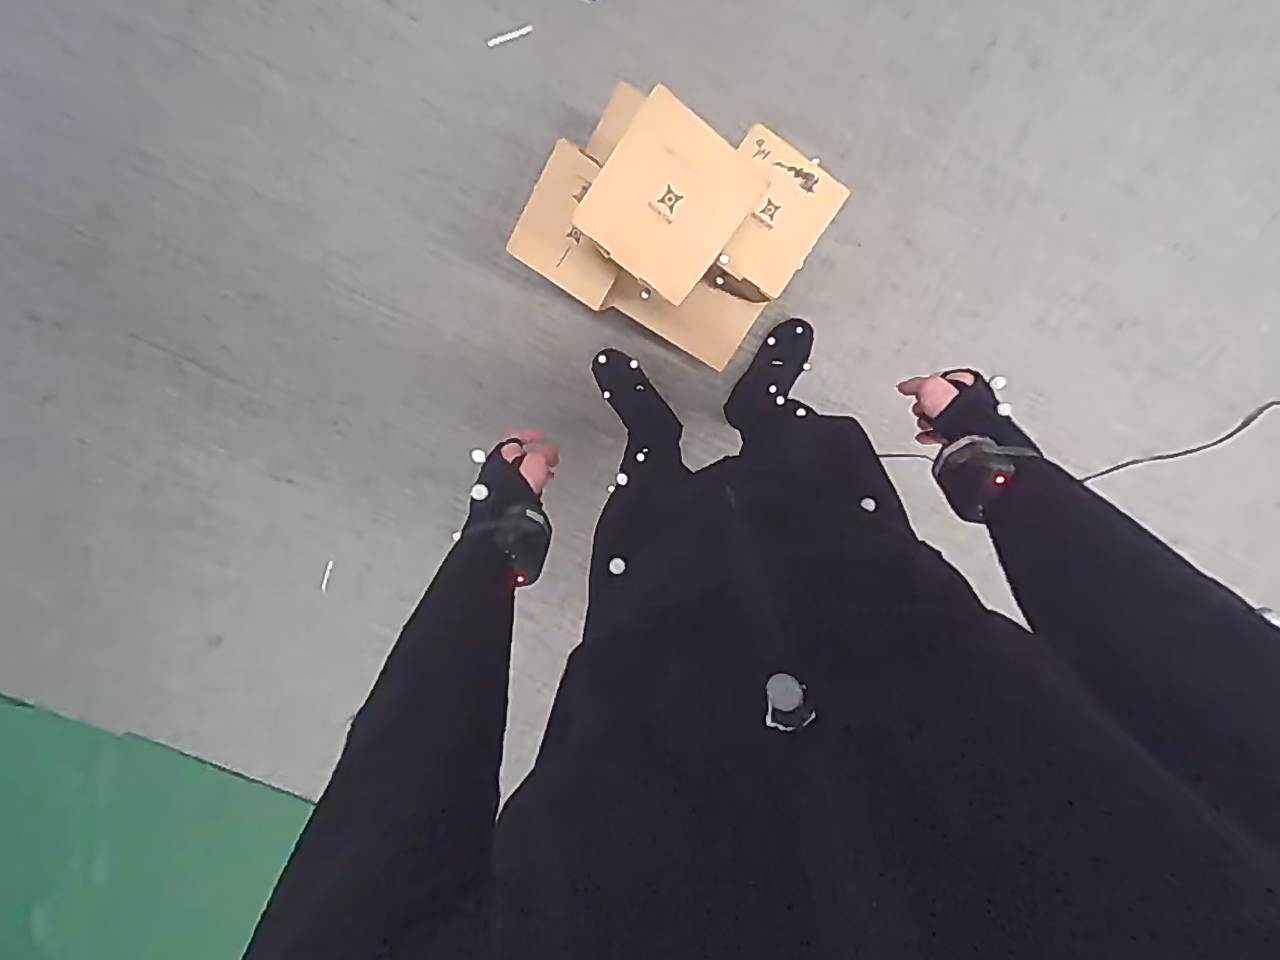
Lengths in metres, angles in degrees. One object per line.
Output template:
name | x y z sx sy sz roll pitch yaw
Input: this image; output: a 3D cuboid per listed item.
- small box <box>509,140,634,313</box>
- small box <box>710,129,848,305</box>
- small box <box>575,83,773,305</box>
small box | -0.077 -0.390 0.861 0.168 0.176 0.179 34 108 -7
small box | 0.186 -0.391 0.845 0.168 0.176 0.179 33 105 -6
small box | 0.042 -0.343 0.697 0.168 0.176 0.179 37 104 -8
